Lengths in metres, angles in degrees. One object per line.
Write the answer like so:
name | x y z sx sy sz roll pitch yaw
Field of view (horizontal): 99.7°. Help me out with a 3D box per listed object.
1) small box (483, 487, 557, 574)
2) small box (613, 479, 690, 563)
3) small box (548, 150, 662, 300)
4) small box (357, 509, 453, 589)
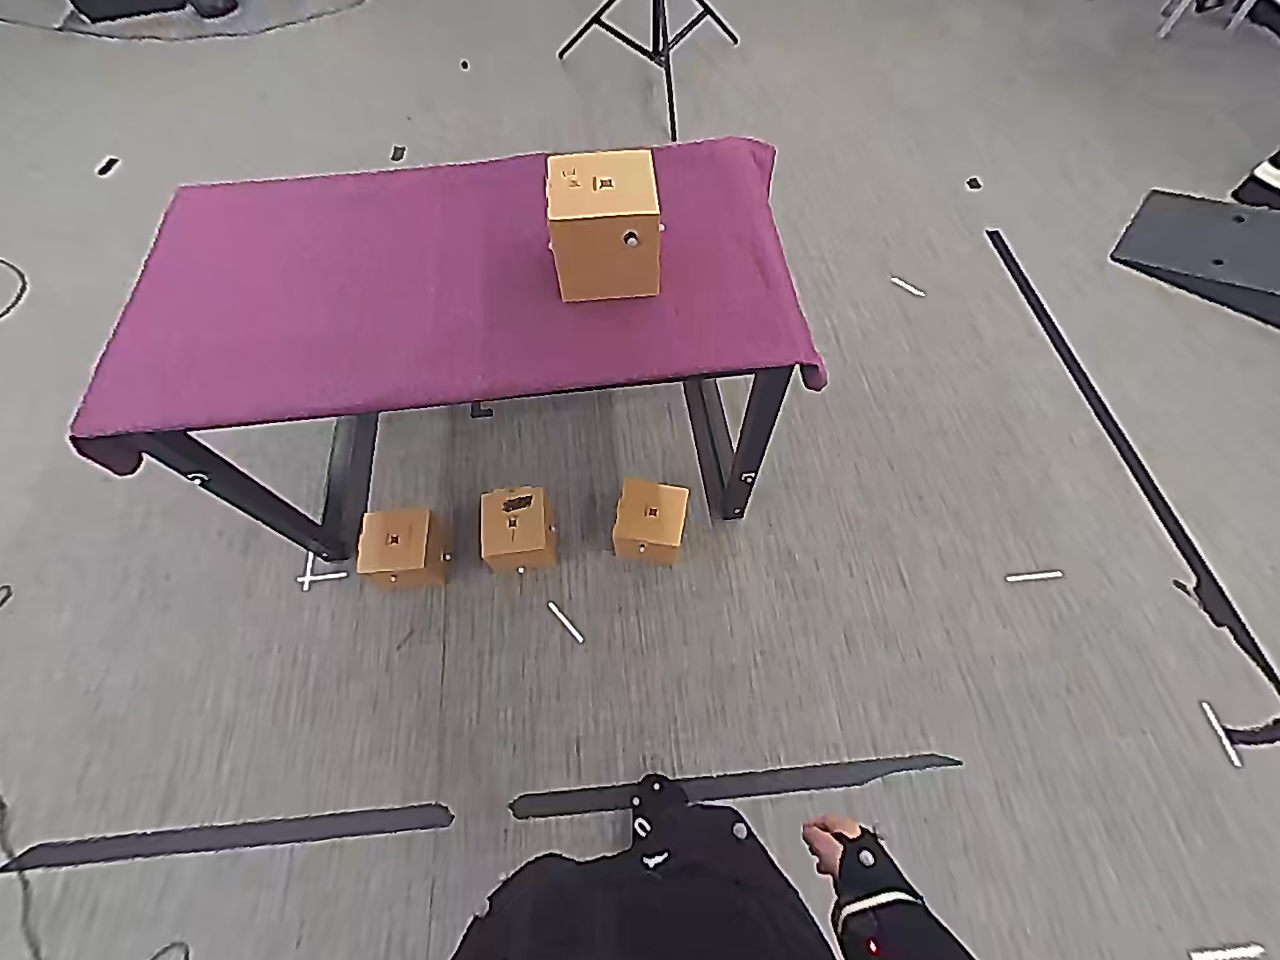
small box | -0.320 0.140 1.465 0.168 0.176 0.179 -7 64 -1
small box | 0.035 0.117 1.468 0.179 0.176 0.168 9 64 7
small box | -0.057 -0.432 0.930 0.179 0.176 0.168 -5 62 0
small box | -0.622 0.189 1.451 0.179 0.176 0.168 -4 64 -1
